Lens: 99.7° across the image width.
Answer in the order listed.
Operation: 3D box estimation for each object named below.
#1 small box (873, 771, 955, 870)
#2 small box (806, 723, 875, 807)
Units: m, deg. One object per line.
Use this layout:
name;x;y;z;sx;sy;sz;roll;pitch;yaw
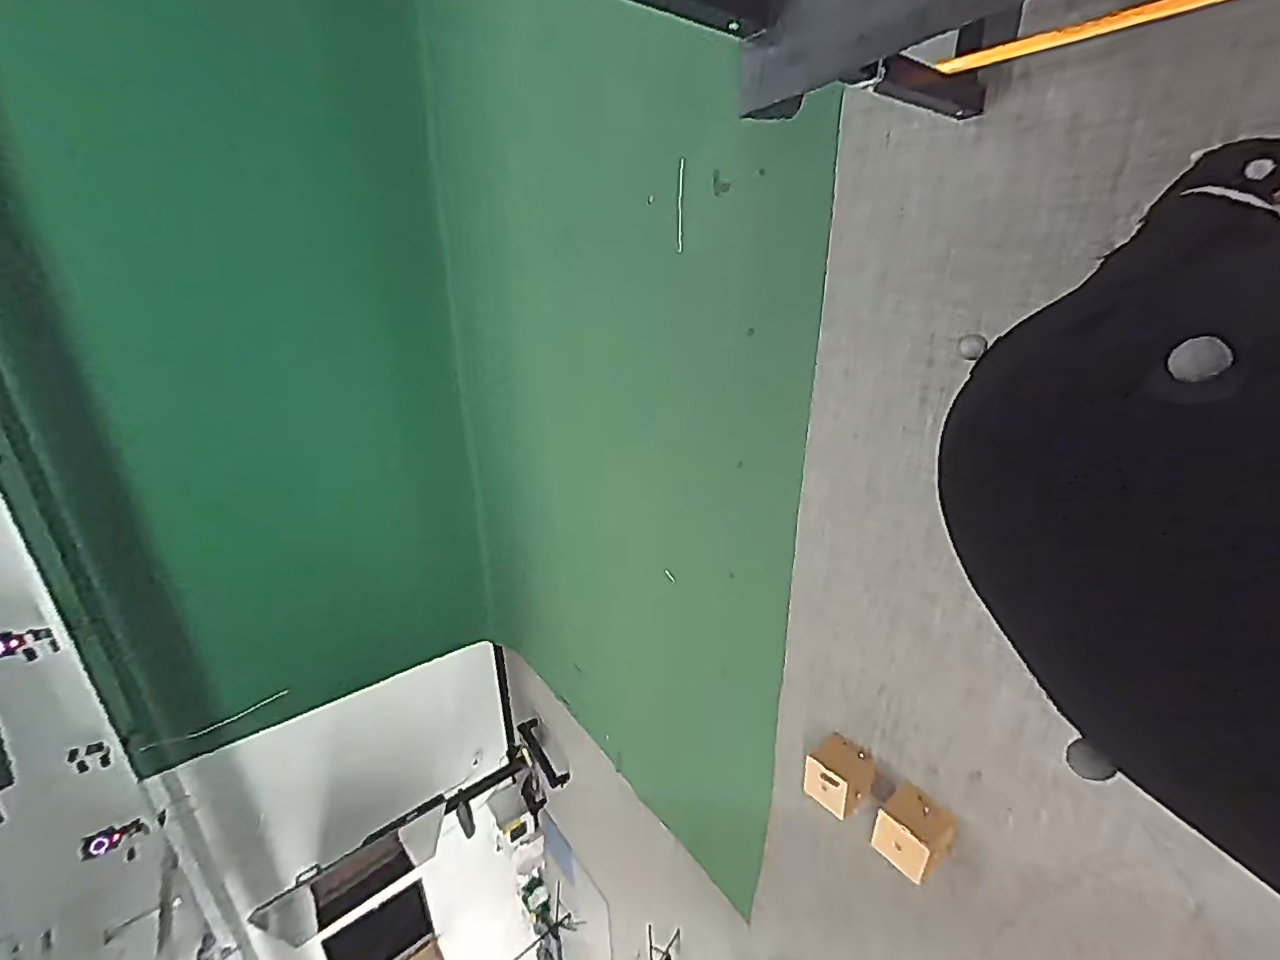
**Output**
small box;0.893;1.101;1.761;0.168;0.176;0.179;27;124;47
small box;0.729;1.024;1.960;0.168;0.176;0.179;23;122;49
